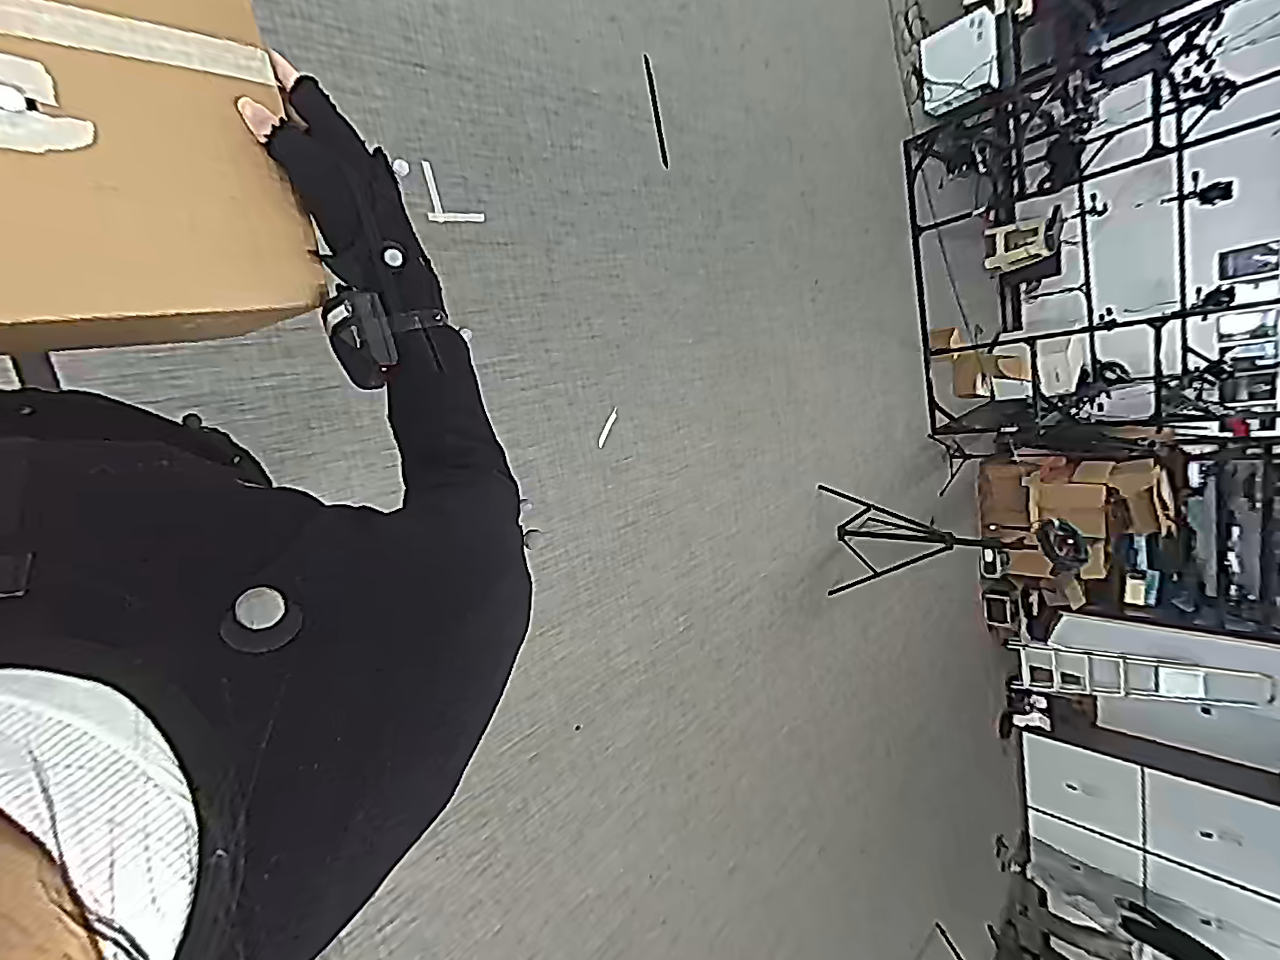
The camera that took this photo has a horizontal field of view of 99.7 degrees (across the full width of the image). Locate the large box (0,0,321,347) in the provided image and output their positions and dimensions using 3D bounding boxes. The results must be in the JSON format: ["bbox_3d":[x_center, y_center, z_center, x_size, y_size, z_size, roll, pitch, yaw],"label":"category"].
[{"bbox_3d":[-0.512,-0.250,0.351,0.408,0.320,0.320,-23,113,-44],"label":"large box"}]
